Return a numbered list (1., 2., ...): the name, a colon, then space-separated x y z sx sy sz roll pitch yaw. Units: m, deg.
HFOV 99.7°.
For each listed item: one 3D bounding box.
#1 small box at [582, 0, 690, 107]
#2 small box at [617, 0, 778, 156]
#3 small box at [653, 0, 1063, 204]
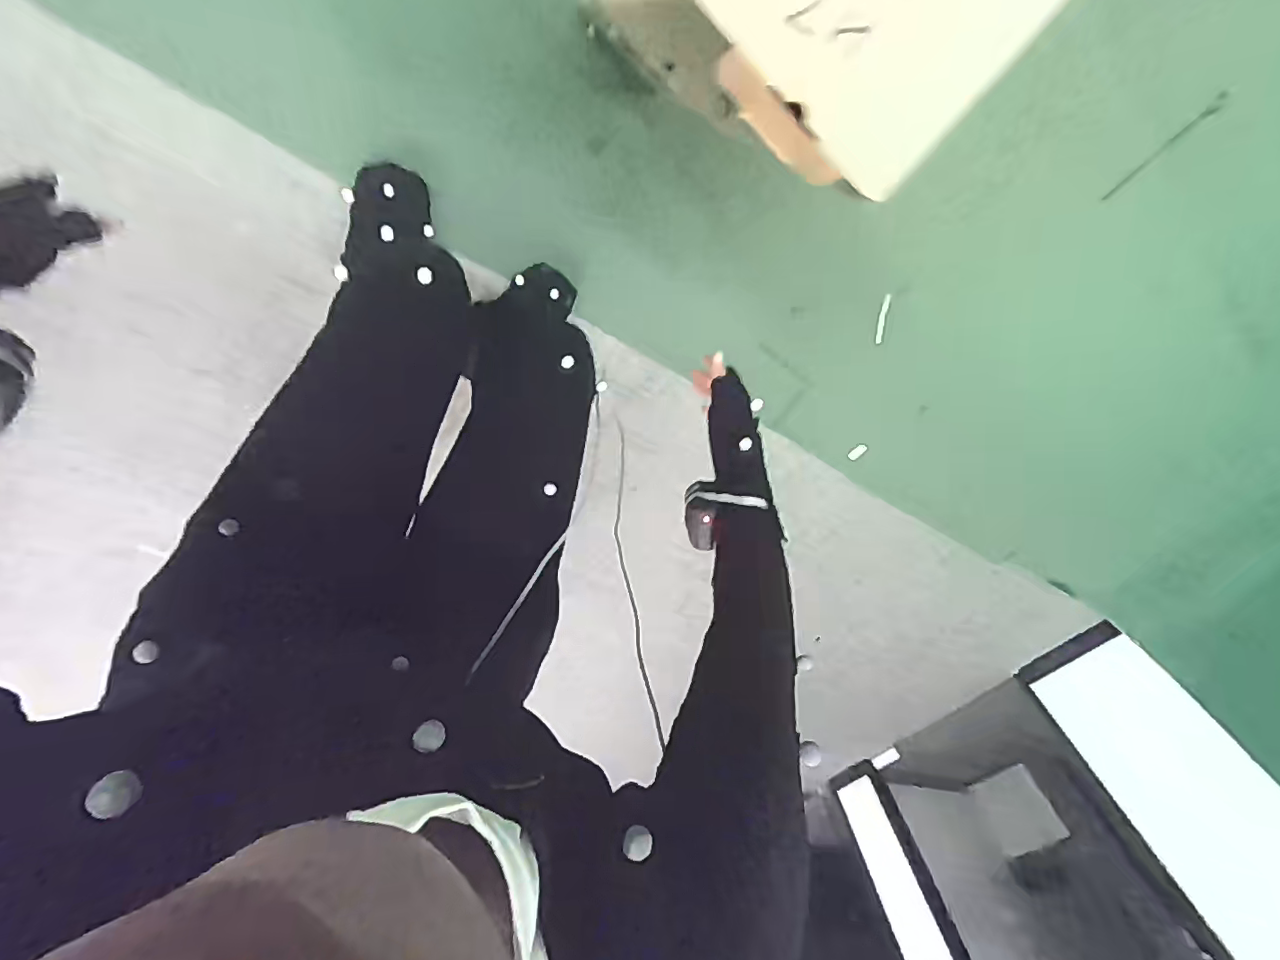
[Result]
1. small box: 0.036 -0.638 0.704 0.168 0.176 0.179 25 122 -30
2. small box: 0.098 -0.427 0.461 0.168 0.176 0.179 26 120 -32
3. small box: 0.129 -0.321 0.338 0.168 0.176 0.179 27 120 -32
